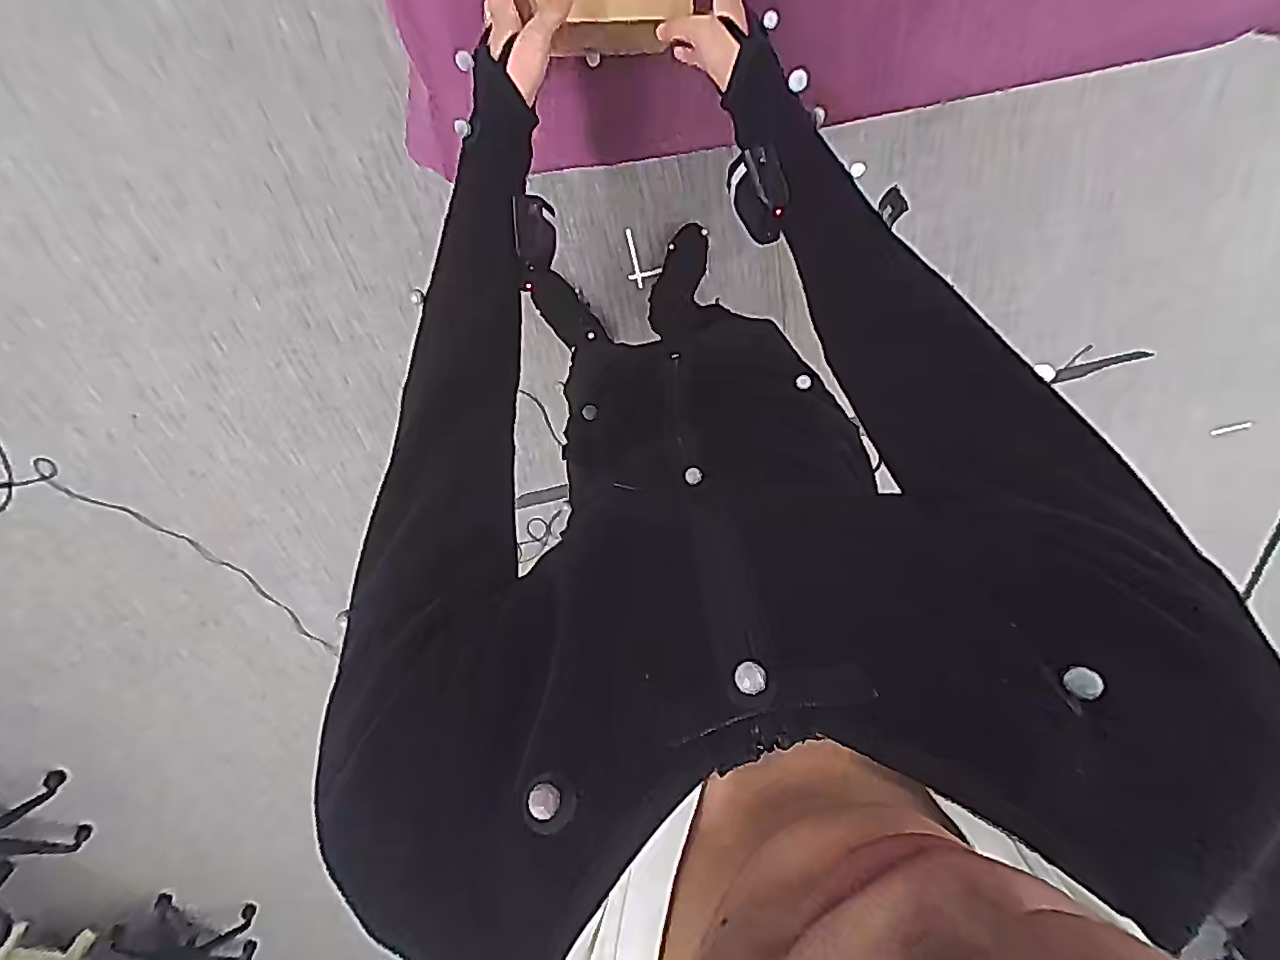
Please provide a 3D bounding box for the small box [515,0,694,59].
[{"bbox_3d":[-0.045,-0.534,0.523,0.168,0.176,0.179,-6,121,-5],"label":"small box"}]

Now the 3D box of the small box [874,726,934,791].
[{"bbox_3d":[1.145,1.204,2.347,0.179,0.176,0.168,-19,121,1],"label":"small box"}]
